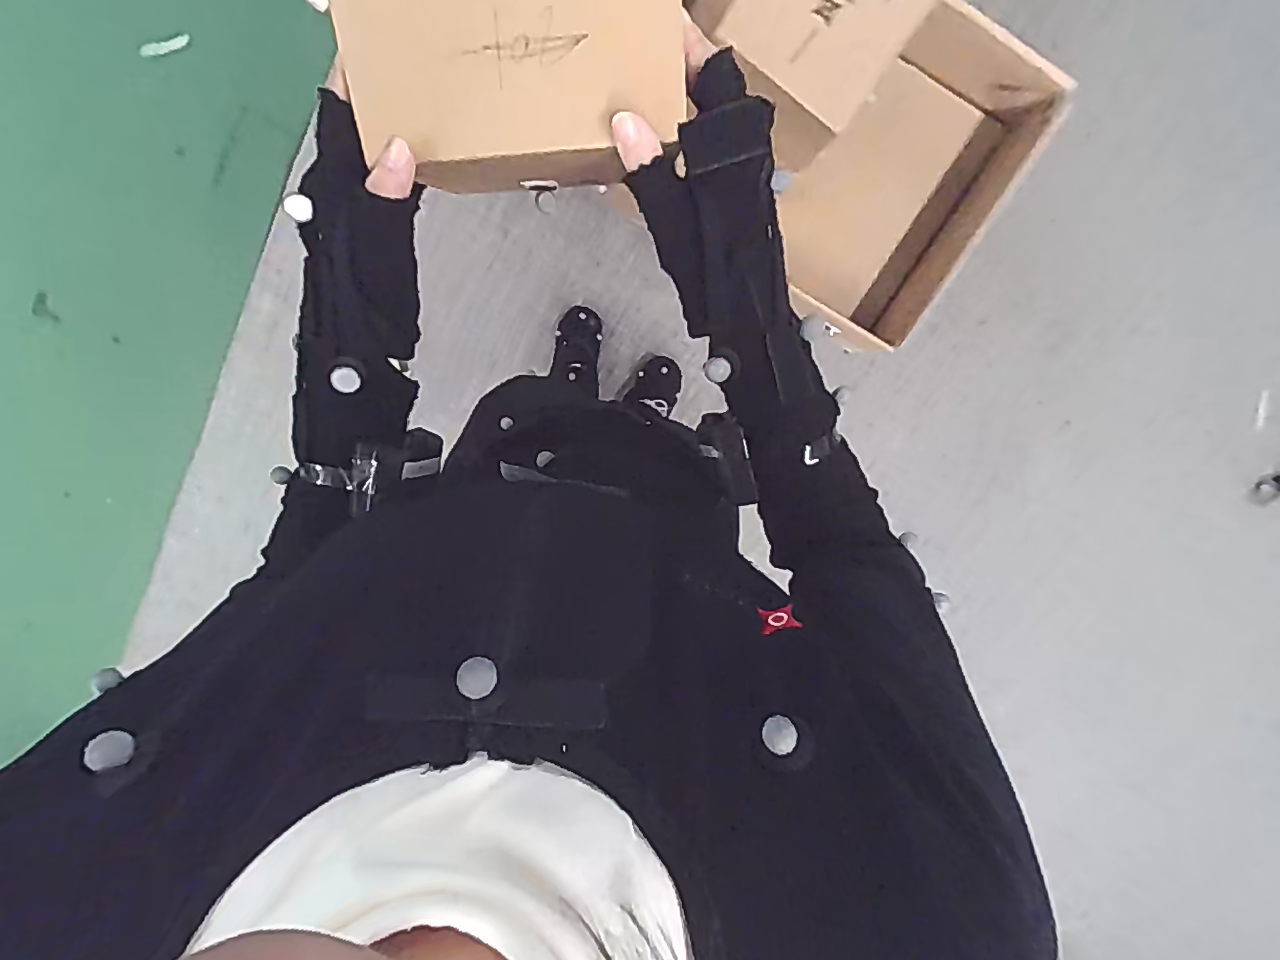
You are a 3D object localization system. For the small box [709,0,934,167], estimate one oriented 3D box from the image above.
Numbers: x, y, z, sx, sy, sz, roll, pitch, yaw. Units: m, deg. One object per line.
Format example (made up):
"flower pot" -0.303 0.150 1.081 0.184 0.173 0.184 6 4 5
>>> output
"small box" 0.193 -0.500 0.612 0.168 0.176 0.179 35 105 -8

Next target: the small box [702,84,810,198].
"small box" 0.202 -0.543 0.770 0.168 0.176 0.179 37 103 -8

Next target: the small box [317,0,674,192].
"small box" -0.072 -0.280 0.316 0.168 0.176 0.179 -5 114 3
